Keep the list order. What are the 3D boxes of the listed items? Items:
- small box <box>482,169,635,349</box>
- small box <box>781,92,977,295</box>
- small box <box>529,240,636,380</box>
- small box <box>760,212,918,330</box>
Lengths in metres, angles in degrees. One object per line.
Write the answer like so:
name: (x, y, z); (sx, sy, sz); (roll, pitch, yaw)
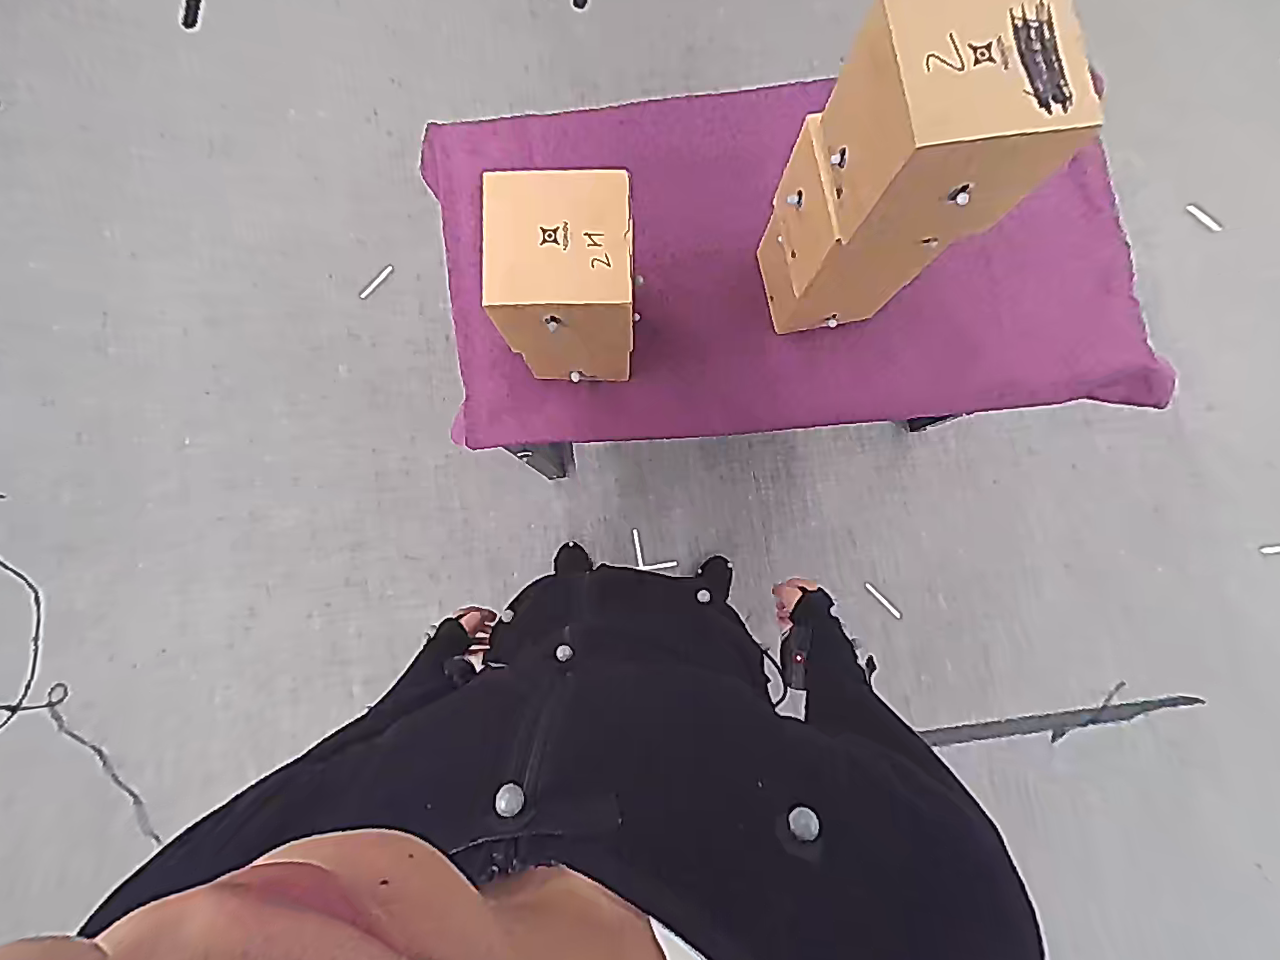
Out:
small box: (-0.096, -0.276, 0.707); (0.179, 0.176, 0.168); (-1, 85, -1)
small box: (0.300, -0.368, 0.725); (0.179, 0.176, 0.168); (-10, 84, -2)
small box: (-0.094, -0.272, 0.872); (0.168, 0.176, 0.179); (2, 86, -1)
small box: (0.314, -0.365, 0.888); (0.179, 0.176, 0.168); (-10, 83, -3)
